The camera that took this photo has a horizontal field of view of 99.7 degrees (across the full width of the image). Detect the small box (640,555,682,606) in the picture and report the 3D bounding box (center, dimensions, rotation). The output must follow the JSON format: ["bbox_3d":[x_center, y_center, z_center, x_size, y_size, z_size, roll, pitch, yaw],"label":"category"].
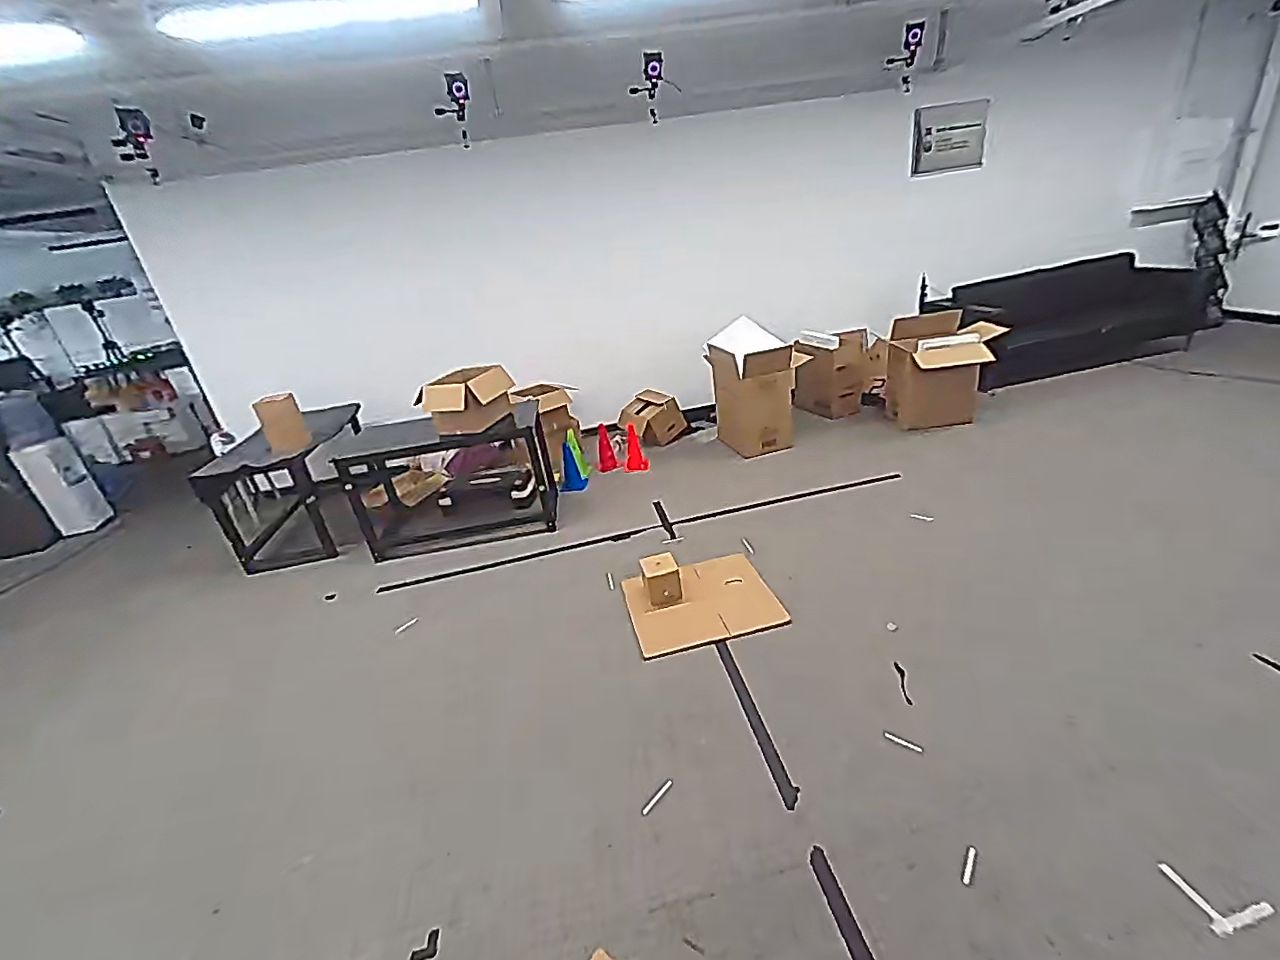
[{"bbox_3d":[0.107,0.509,2.728,0.168,0.176,0.179,-13,25,-7],"label":"small box"}]
